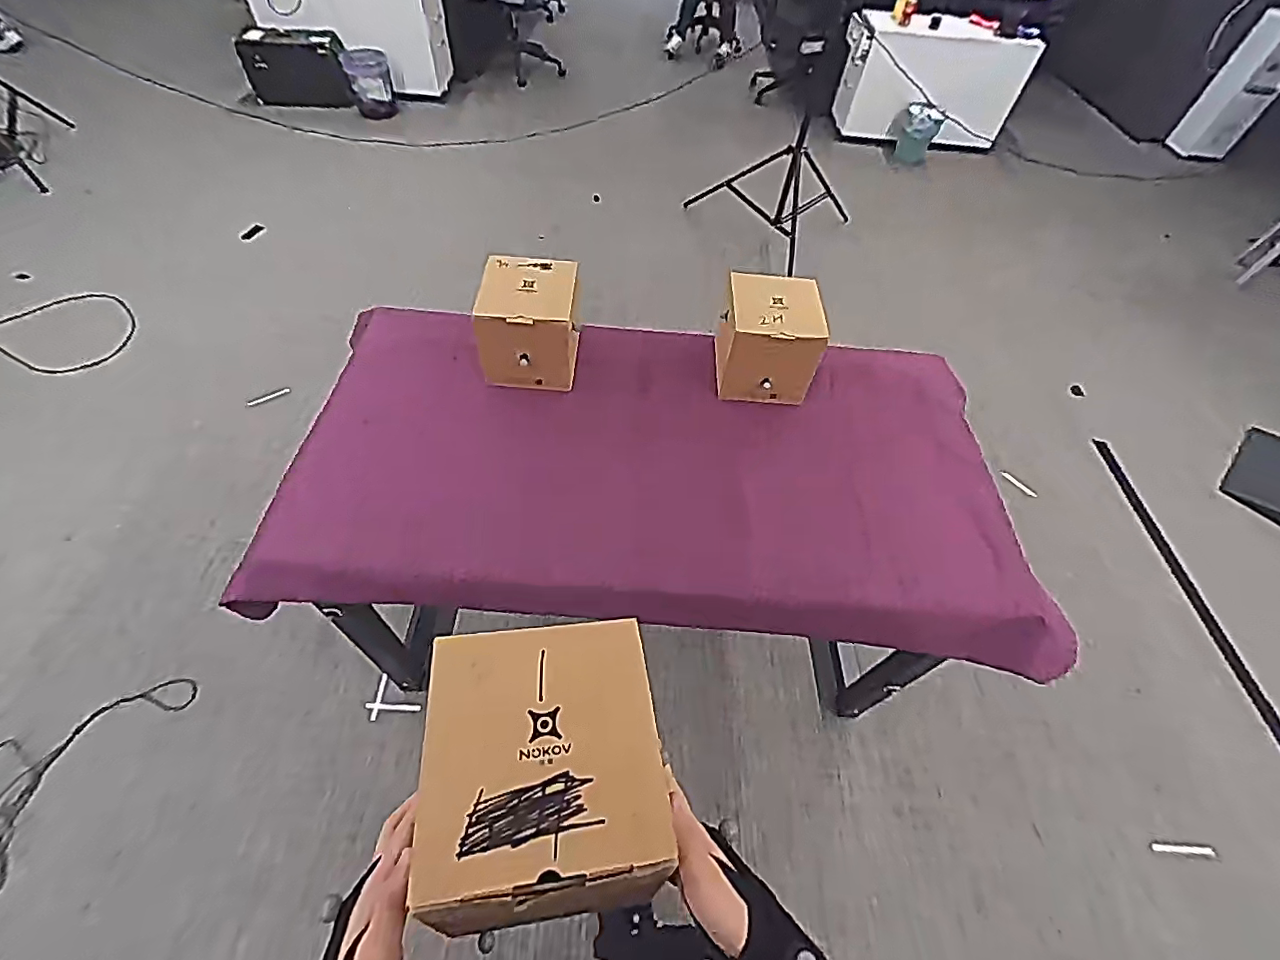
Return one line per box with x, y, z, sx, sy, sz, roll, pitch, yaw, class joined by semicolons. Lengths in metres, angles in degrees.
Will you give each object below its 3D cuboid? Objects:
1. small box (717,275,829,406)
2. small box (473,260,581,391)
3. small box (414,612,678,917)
0.245;-0.268;1.045;0.168;0.176;0.179;4;55;-1;small box
-0.202;-0.287;1.023;0.168;0.176;0.179;4;56;-2;small box
-0.073;0.234;0.444;0.168;0.176;0.179;-3;45;-10;small box
